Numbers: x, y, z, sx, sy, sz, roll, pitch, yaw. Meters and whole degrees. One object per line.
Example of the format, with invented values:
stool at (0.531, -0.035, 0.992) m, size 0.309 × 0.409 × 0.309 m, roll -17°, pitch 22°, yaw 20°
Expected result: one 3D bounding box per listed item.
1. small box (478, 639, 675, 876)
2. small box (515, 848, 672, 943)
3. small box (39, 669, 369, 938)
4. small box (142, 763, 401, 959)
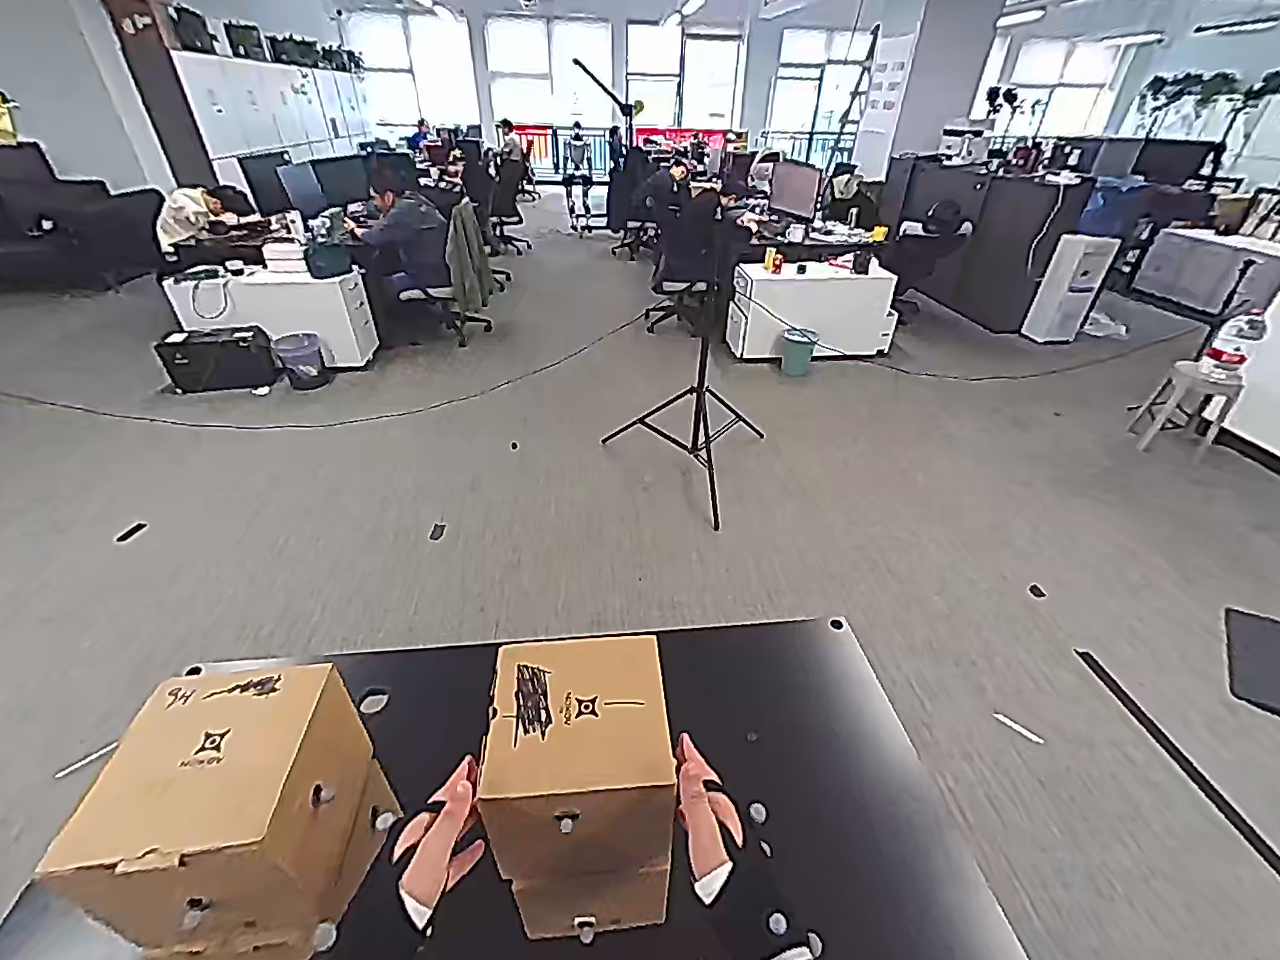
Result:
small box at (-0.060, 0.294, 0.579) m, size 0.179 × 0.176 × 0.168 m, roll -2°, pitch 35°, yaw -5°
small box at (-0.058, 0.430, 0.672) m, size 0.168 × 0.176 × 0.179 m, roll -4°, pitch 36°, yaw -6°
small box at (-0.390, 0.317, 0.533) m, size 0.168 × 0.176 × 0.179 m, roll -3°, pitch 36°, yaw -7°
small box at (-0.390, 0.457, 0.618) m, size 0.168 × 0.176 × 0.179 m, roll -2°, pitch 35°, yaw -4°
